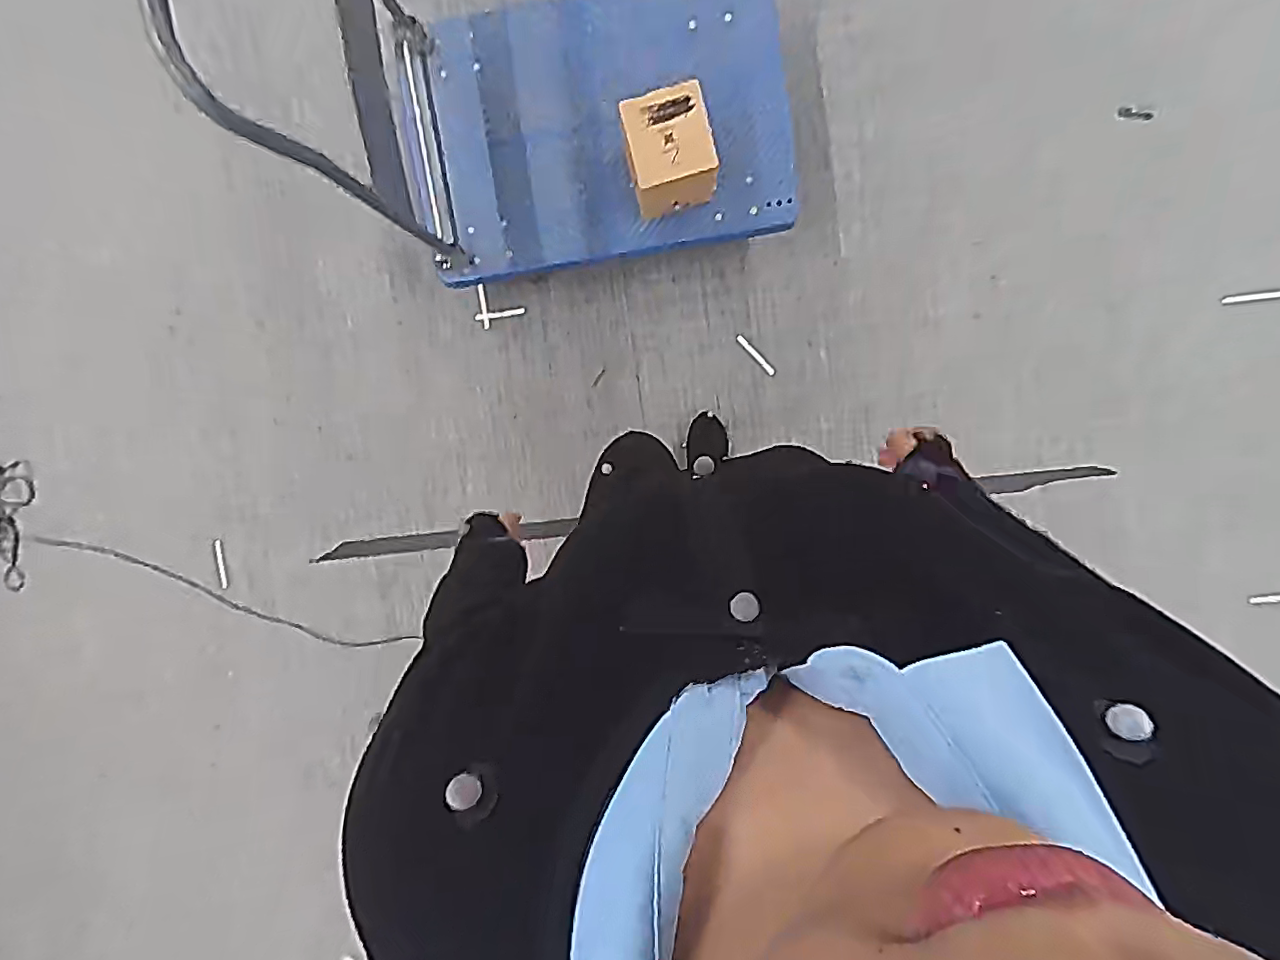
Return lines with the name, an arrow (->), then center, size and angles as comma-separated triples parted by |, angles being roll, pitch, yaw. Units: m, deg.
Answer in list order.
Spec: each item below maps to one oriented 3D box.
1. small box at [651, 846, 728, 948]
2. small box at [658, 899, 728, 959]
small box -> 0.135, 1.176, 1.509 | 0.168, 0.176, 0.179 | -19, 94, 3
small box -> 0.137, 1.196, 1.347 | 0.168, 0.176, 0.179 | -6, 95, 3
